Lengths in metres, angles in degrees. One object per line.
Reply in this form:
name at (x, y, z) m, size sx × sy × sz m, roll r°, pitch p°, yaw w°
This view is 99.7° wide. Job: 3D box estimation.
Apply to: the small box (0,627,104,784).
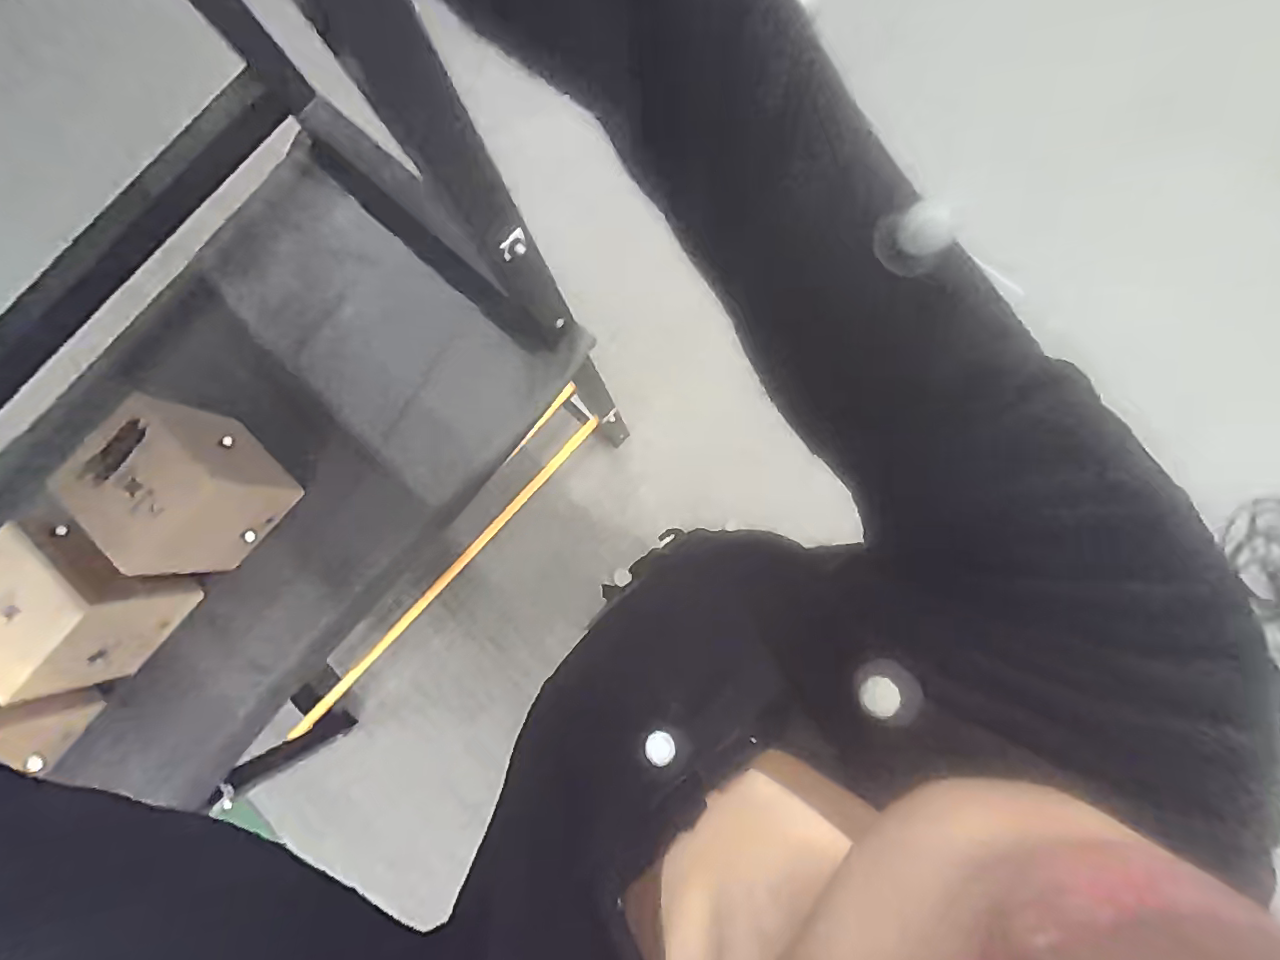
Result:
small box at (-0.937, 0.325, 0.758) m, size 0.179 × 0.176 × 0.168 m, roll 40°, pitch 88°, yaw 8°
